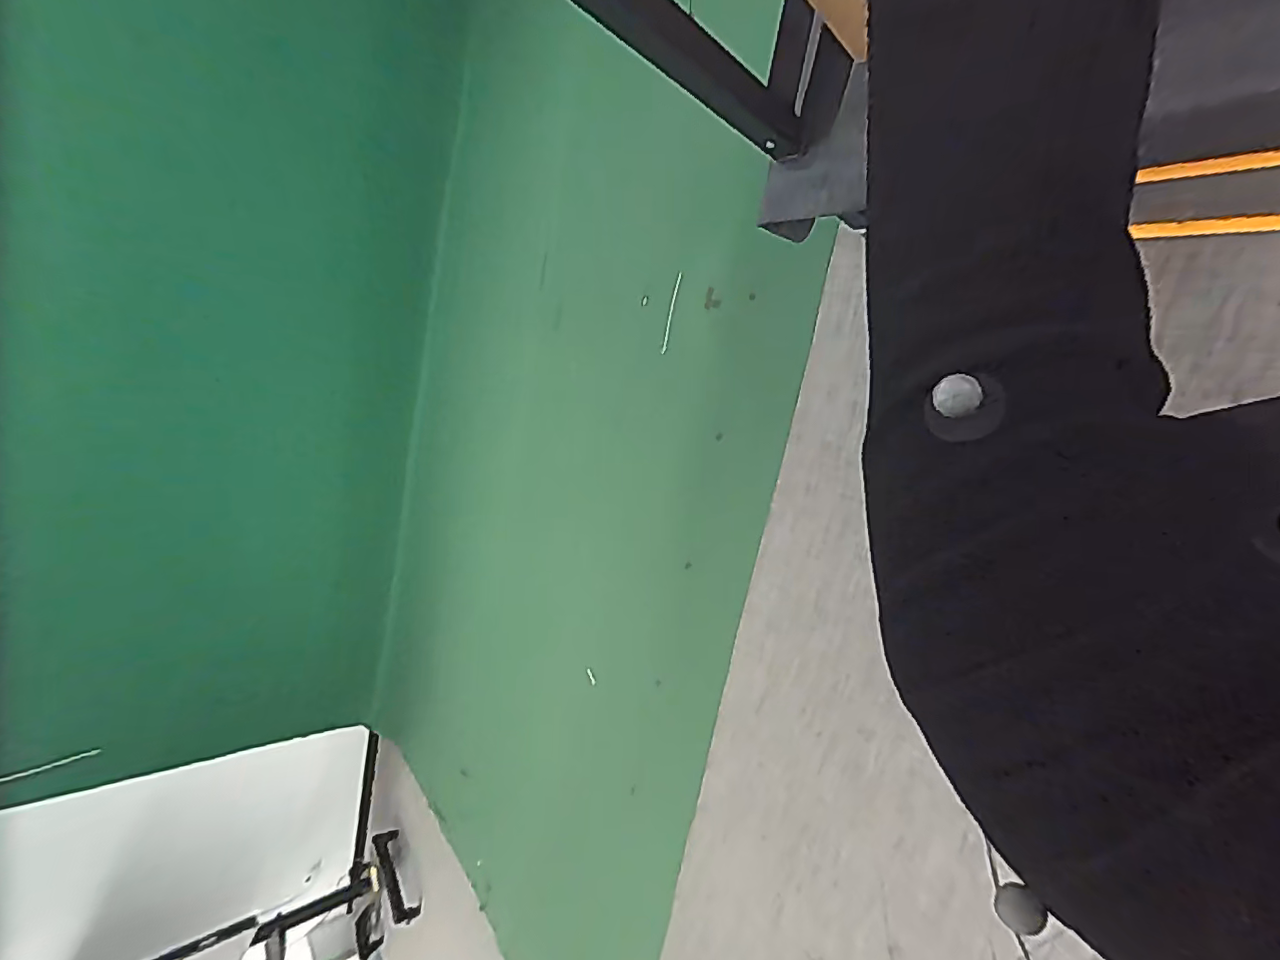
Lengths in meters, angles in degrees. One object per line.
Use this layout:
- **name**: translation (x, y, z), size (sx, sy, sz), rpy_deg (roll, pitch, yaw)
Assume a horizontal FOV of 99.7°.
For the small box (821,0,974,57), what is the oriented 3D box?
- **small box**: translation (0.351, -0.730, 0.726), size (0.168, 0.176, 0.179), rpy_deg (16, 100, 47)
